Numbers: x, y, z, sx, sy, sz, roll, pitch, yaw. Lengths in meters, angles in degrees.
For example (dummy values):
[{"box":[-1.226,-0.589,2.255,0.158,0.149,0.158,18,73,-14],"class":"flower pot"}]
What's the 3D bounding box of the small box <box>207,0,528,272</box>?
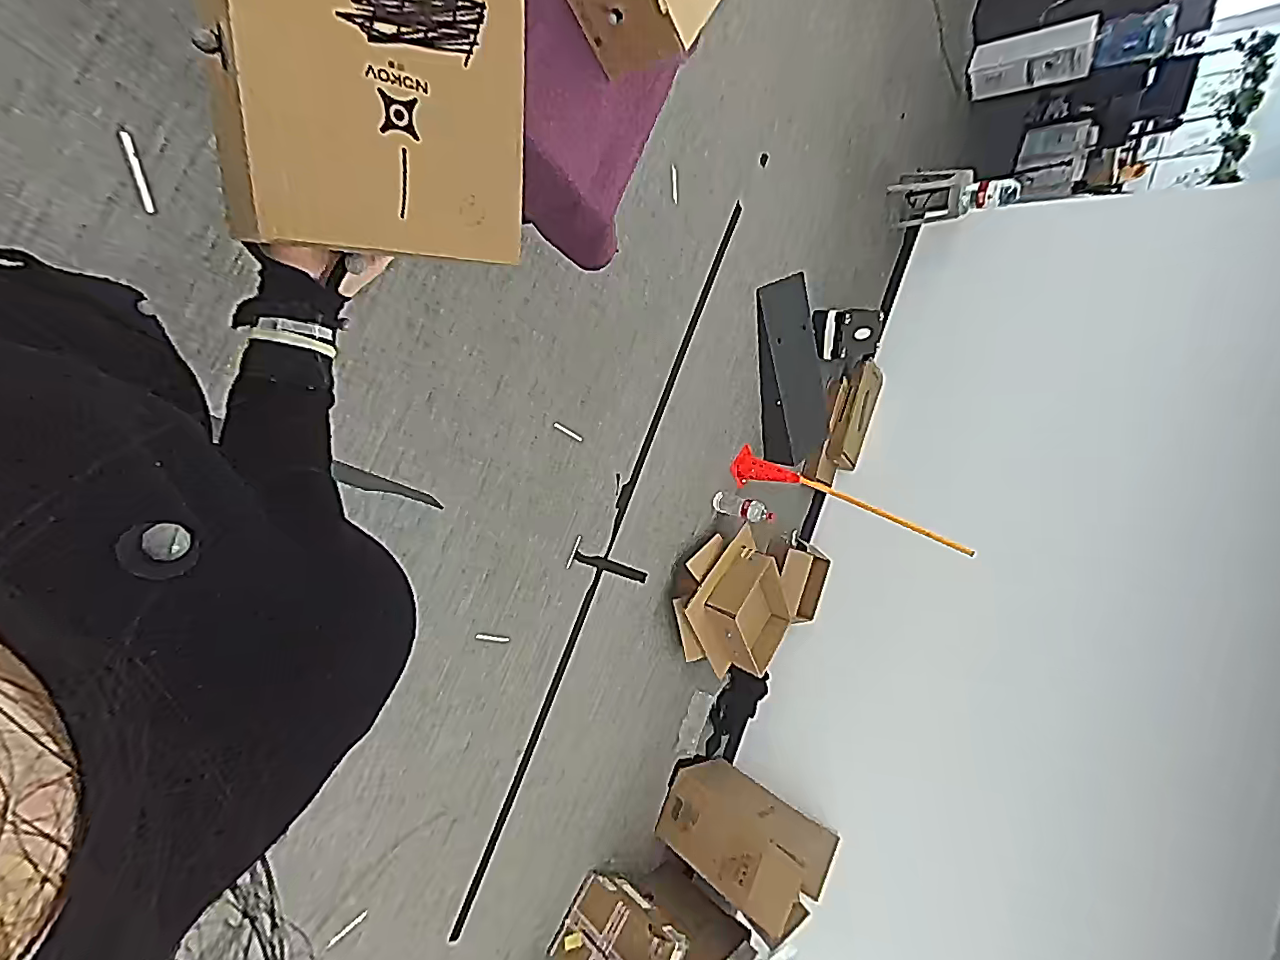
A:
[{"box":[-0.197,-0.256,0.396,0.168,0.176,0.179,-11,115,-39],"class":"small box"}]
